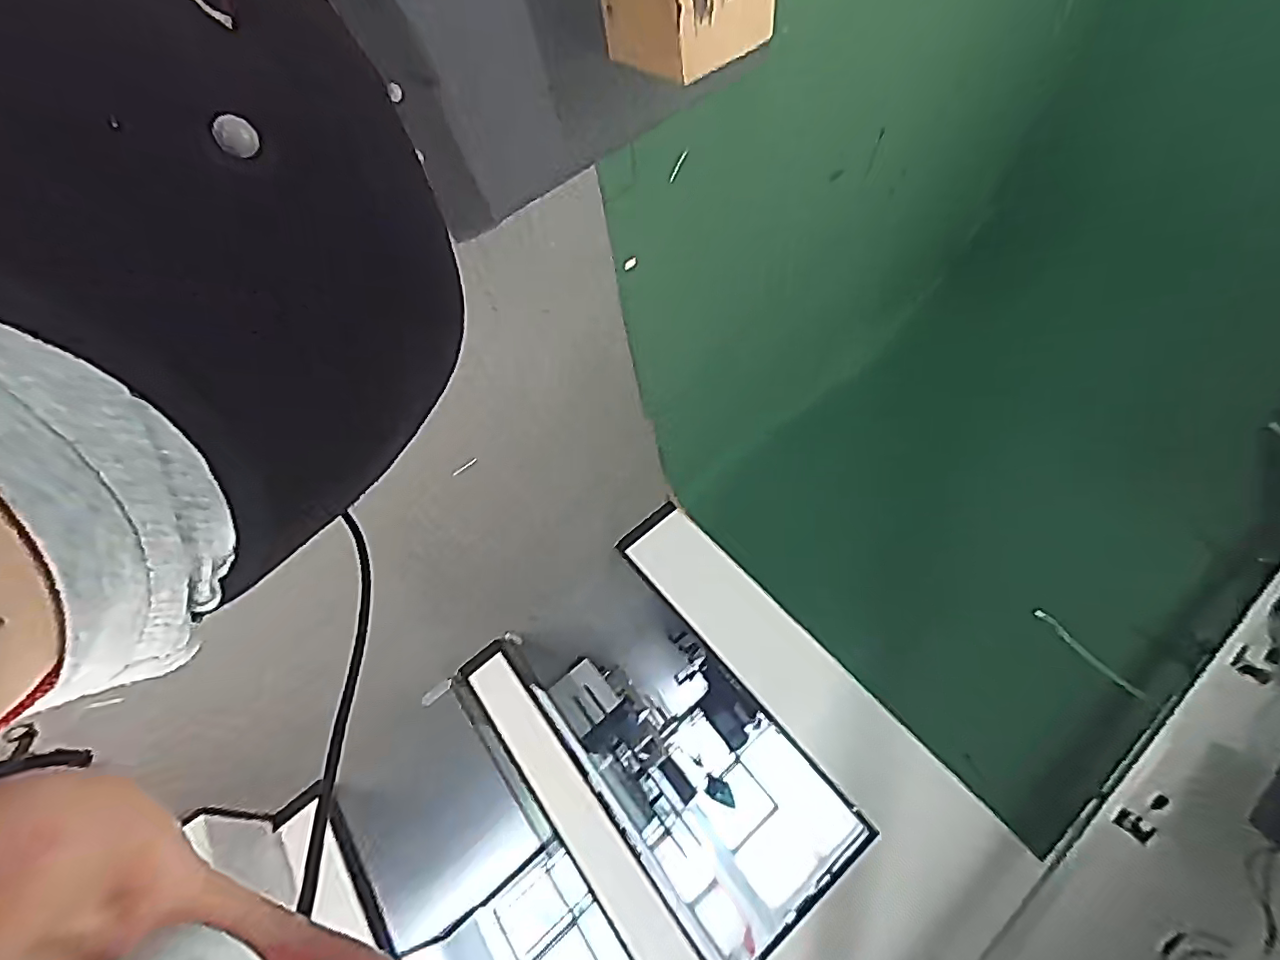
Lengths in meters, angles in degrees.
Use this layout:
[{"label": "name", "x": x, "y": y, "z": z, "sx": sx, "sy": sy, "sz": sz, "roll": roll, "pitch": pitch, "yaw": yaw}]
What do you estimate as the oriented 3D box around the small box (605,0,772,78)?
[{"label": "small box", "x": 0.059, "y": -0.683, "z": 0.724, "sx": 0.179, "sy": 0.176, "sz": 0.168, "roll": -38, "pitch": 151, "yaw": -15}]
